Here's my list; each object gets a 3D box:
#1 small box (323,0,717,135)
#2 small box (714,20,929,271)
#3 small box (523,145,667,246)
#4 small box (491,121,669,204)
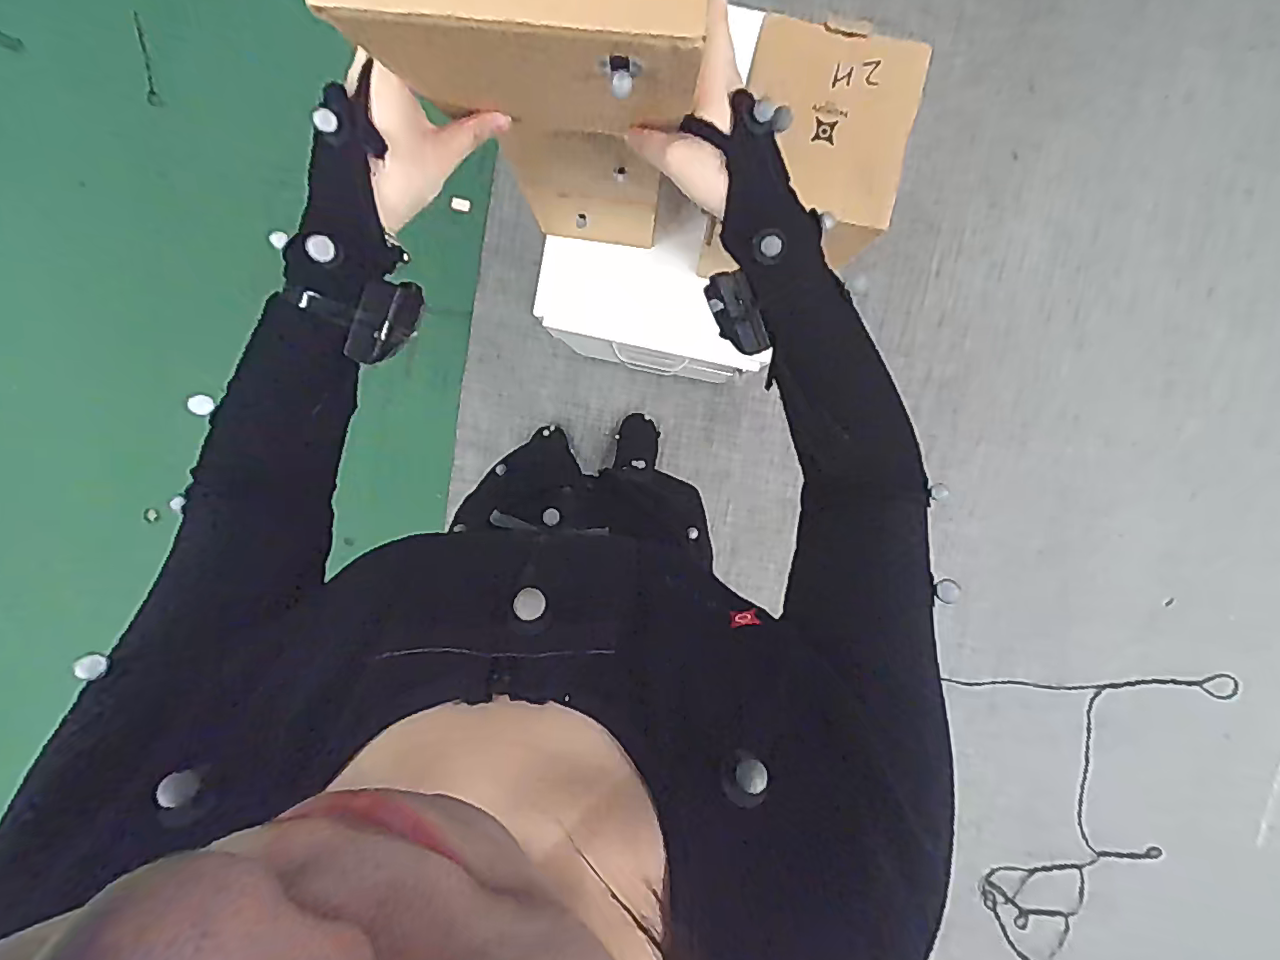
[{"bbox_3d":[-0.047,-0.301,0.287,0.179,0.176,0.168,4,110,-1],"label":"small box"},{"bbox_3d":[0.185,-0.353,0.610,0.168,0.176,0.179,12,98,0],"label":"small box"},{"bbox_3d":[-0.055,-0.447,0.767,0.179,0.176,0.168,7,97,-2],"label":"small box"},{"bbox_3d":[-0.054,-0.429,0.604,0.179,0.176,0.168,6,96,-1],"label":"small box"}]
